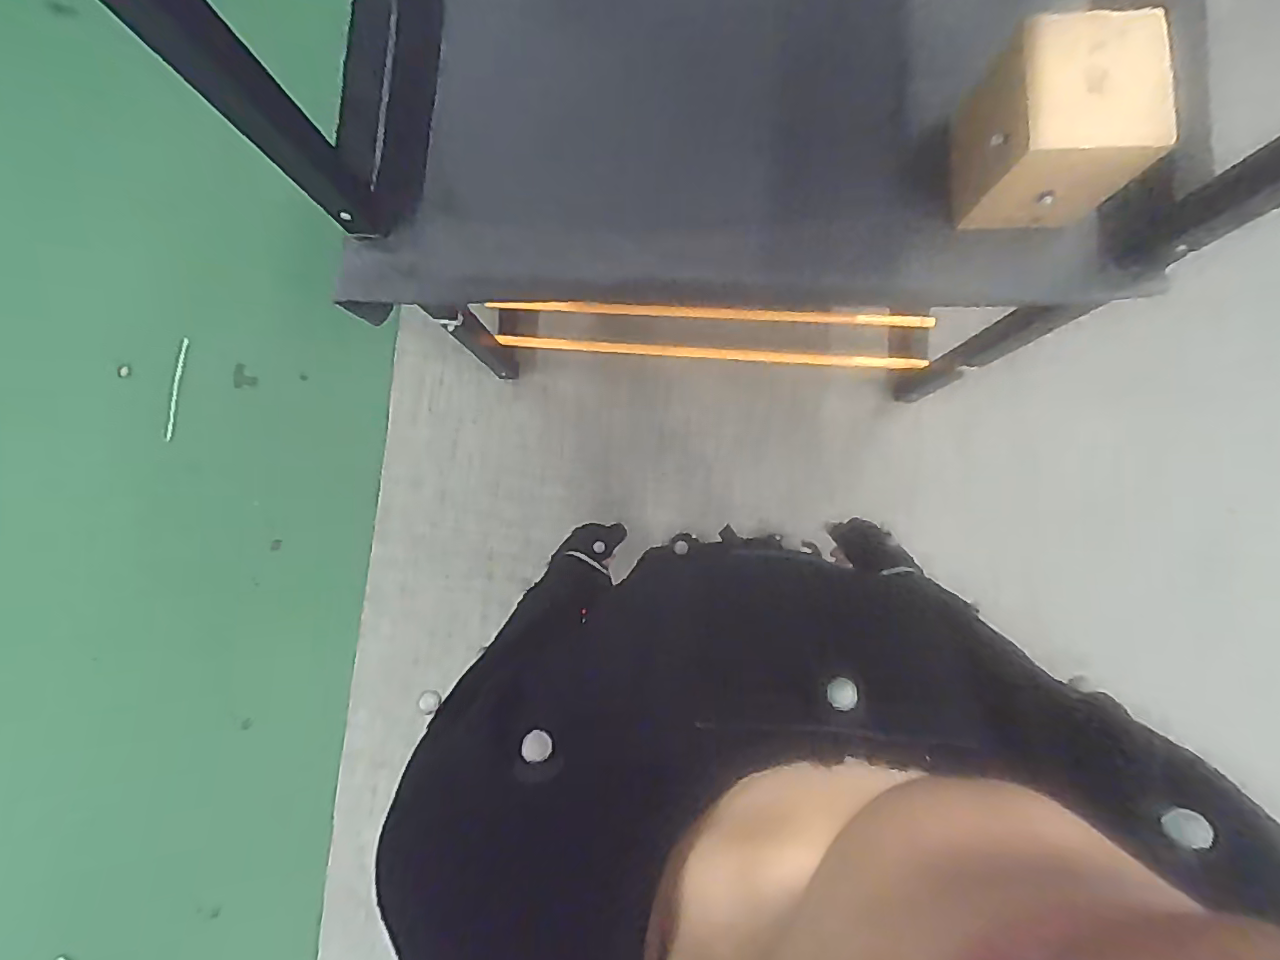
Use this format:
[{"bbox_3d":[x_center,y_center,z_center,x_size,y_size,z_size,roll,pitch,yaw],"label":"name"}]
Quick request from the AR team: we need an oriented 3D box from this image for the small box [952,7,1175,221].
[{"bbox_3d":[0.540,-0.464,0.714,0.168,0.176,0.179,0,84,3],"label":"small box"}]
